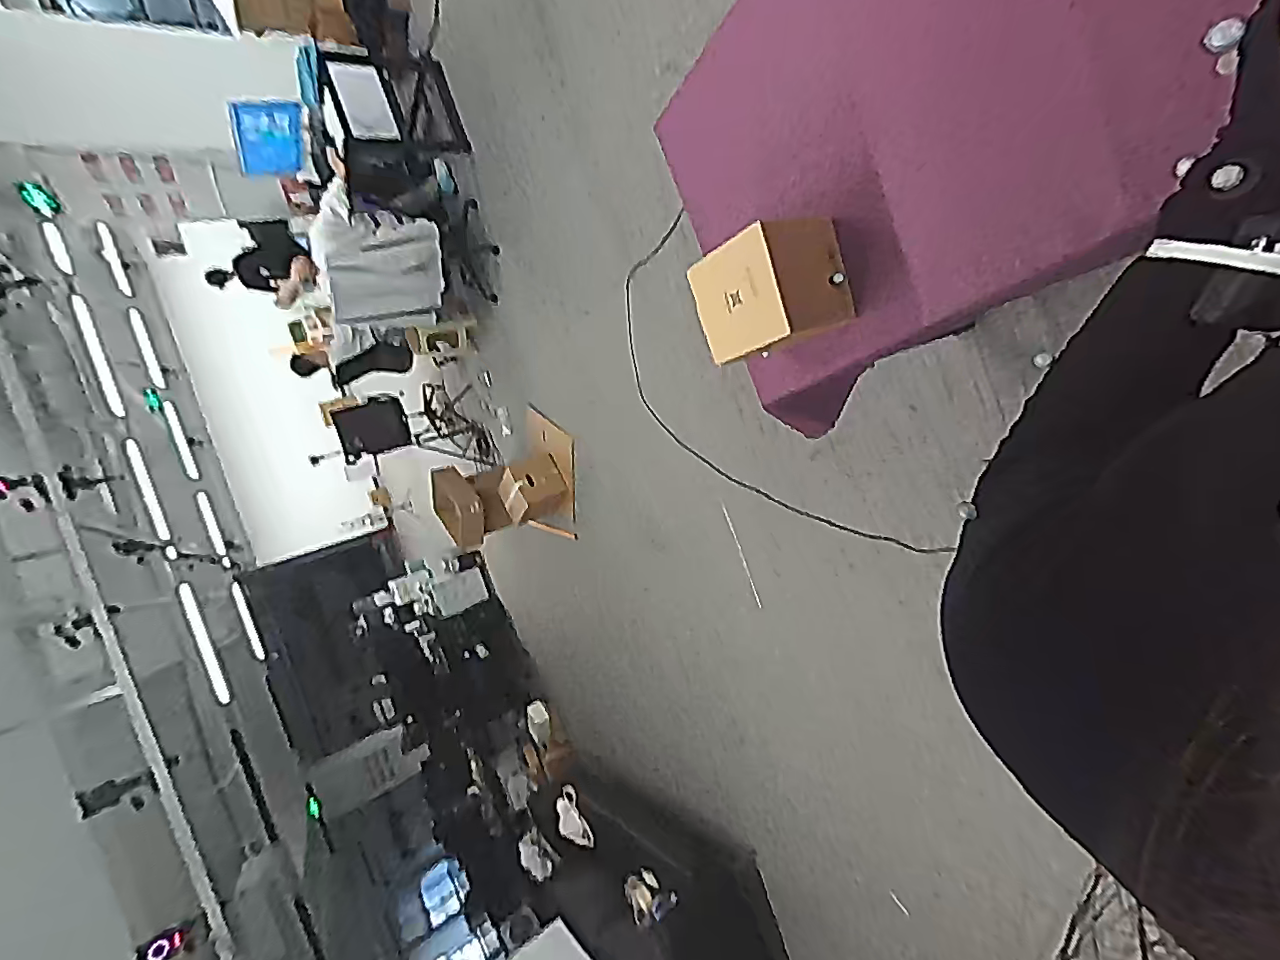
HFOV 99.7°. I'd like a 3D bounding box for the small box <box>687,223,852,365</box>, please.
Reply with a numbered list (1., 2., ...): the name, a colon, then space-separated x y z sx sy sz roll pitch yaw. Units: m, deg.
1. small box: 0.211 -0.300 0.884 0.179 0.176 0.168 -10 99 57
